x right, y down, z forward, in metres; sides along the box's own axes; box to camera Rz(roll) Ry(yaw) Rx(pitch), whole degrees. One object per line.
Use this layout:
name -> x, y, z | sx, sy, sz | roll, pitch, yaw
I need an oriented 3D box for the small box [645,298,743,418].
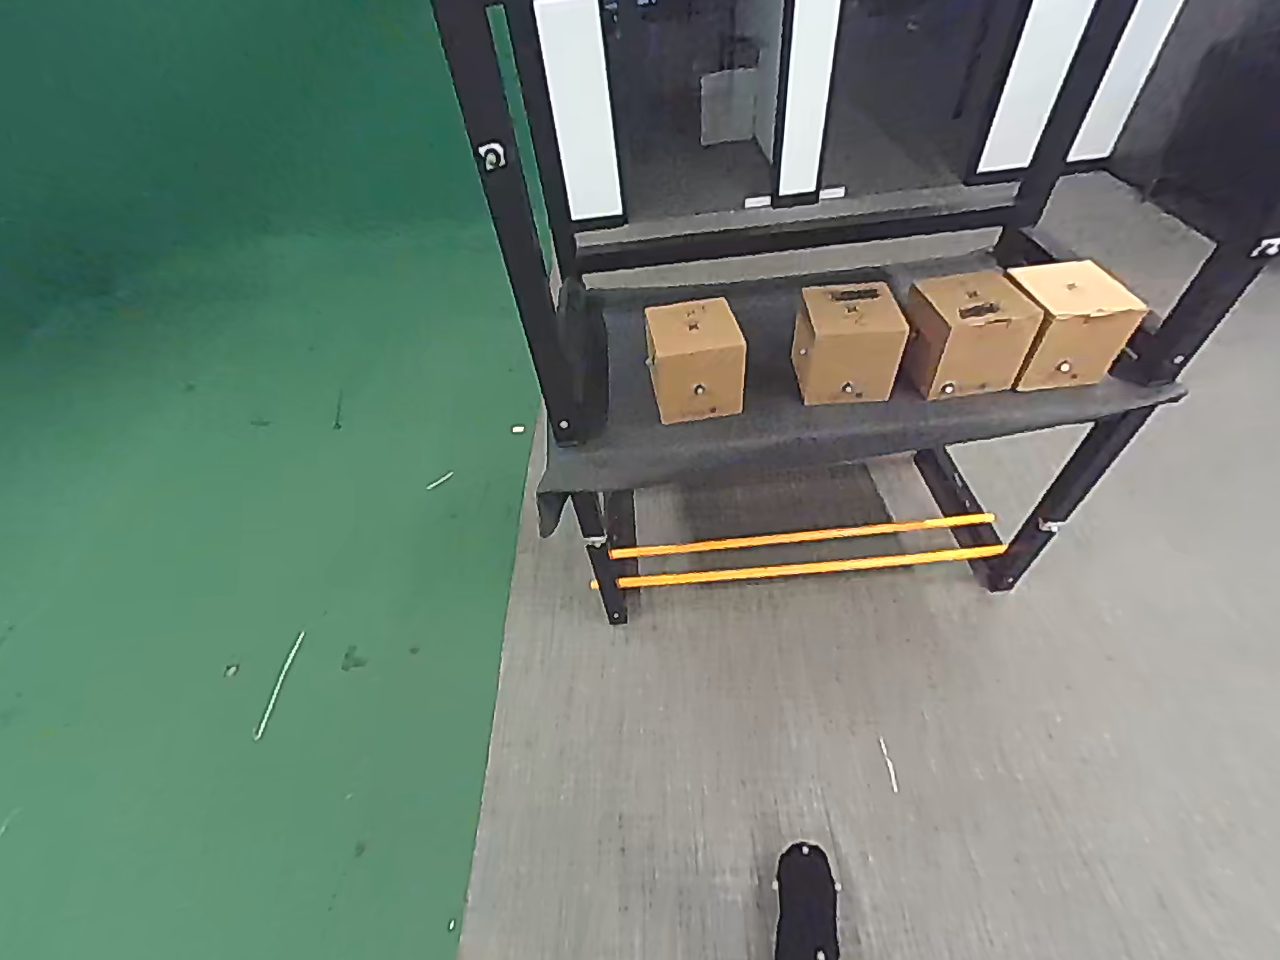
small box -> 0.107, -0.239, 1.092 | 0.168, 0.176, 0.179 | -8, 47, -1
